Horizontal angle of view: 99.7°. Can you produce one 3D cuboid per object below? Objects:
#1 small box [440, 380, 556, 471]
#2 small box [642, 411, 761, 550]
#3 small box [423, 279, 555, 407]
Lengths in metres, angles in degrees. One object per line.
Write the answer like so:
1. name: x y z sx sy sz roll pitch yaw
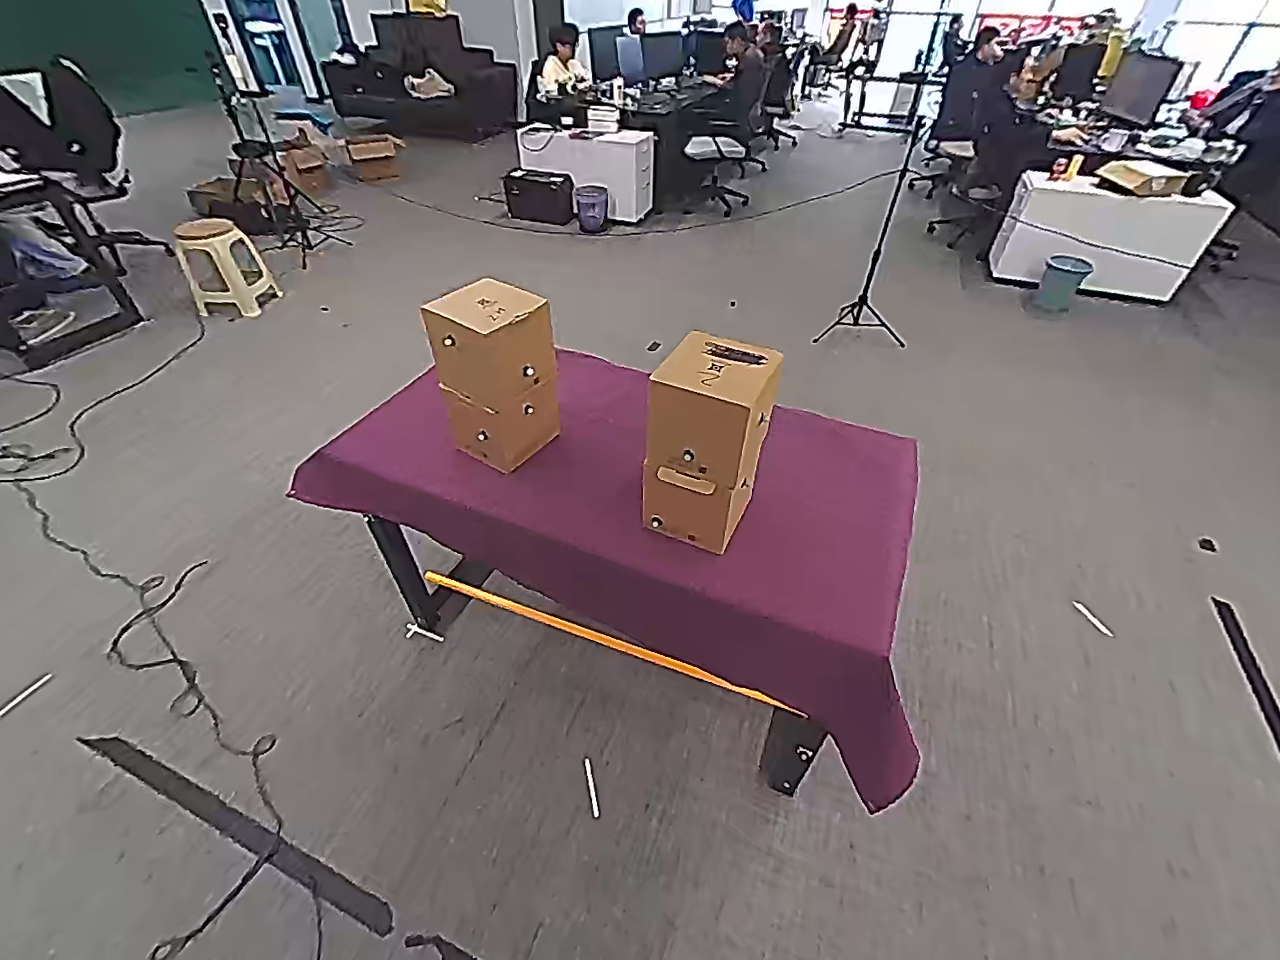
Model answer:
1. small box: -0.297 -0.149 1.174 0.168 0.176 0.179 26 48 23
2. small box: 0.114 0.002 1.019 0.168 0.176 0.179 19 45 18
3. small box: -0.288 -0.267 1.061 0.179 0.176 0.168 27 50 24
